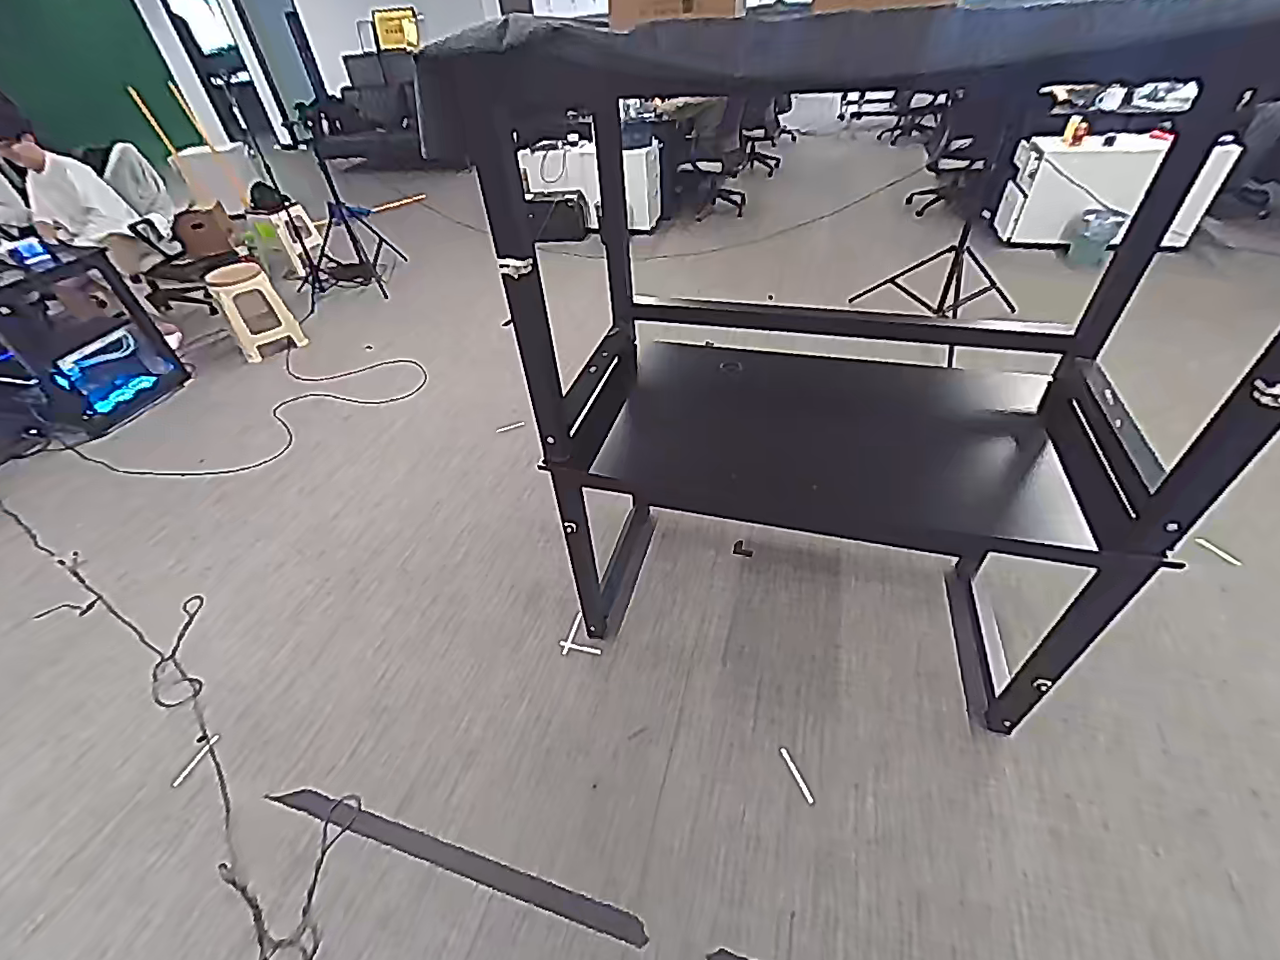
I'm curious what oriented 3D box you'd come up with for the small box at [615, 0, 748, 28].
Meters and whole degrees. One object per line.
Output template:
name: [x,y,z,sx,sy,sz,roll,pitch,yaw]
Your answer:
small box: [0.058,-0.700,0.698,0.168,0.176,0.179,7,42,11]
